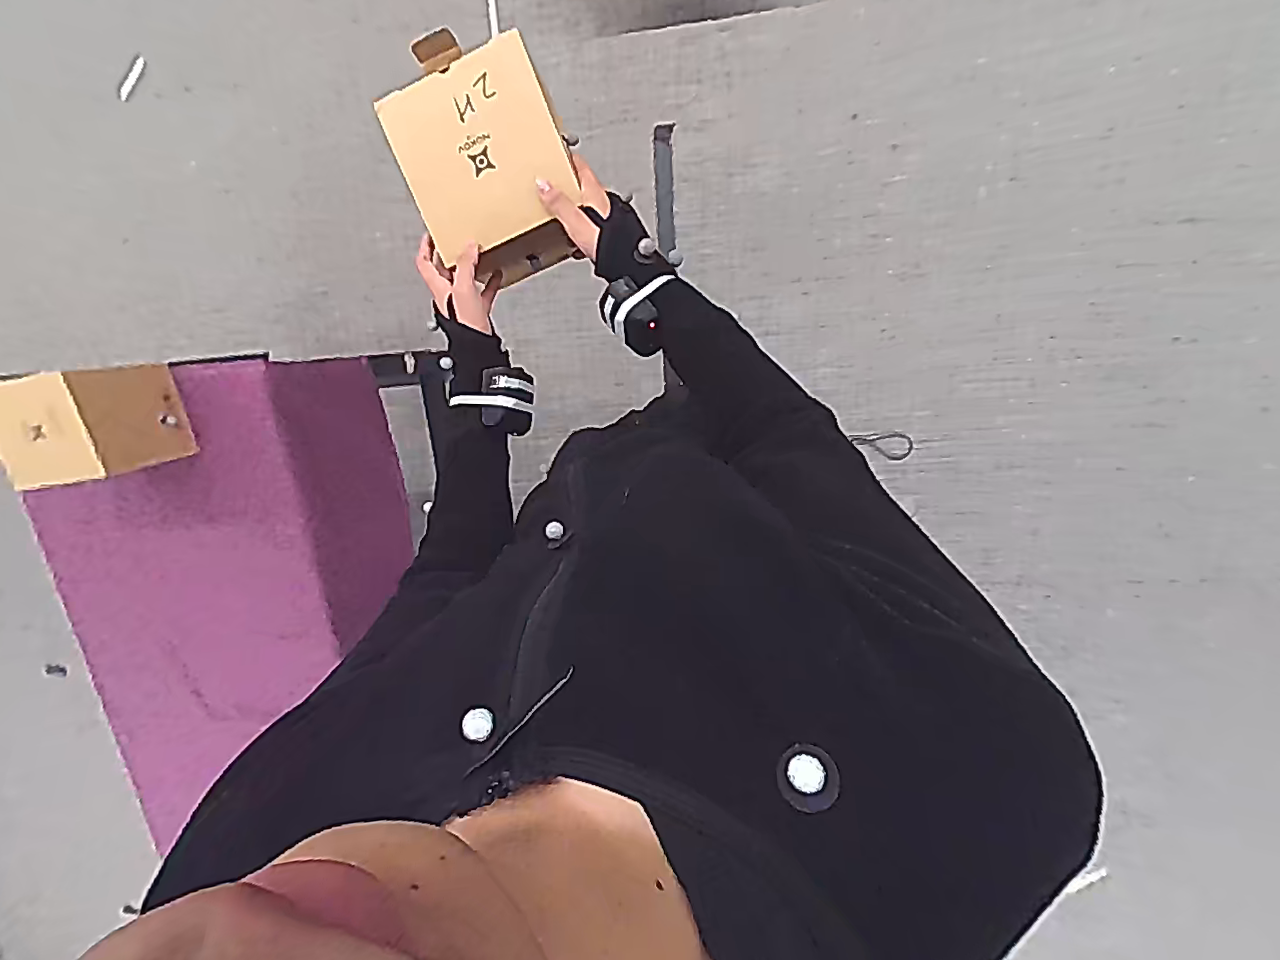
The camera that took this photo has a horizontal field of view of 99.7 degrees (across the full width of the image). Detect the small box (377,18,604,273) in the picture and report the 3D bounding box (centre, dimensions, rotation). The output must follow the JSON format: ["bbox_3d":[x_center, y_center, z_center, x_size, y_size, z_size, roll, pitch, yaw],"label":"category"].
[{"bbox_3d":[-0.151,-0.353,0.617,0.168,0.176,0.179,-20,99,8],"label":"small box"}]

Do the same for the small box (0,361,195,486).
[{"bbox_3d":[-0.902,-0.098,0.891,0.179,0.176,0.168,-7,106,10],"label":"small box"}]
